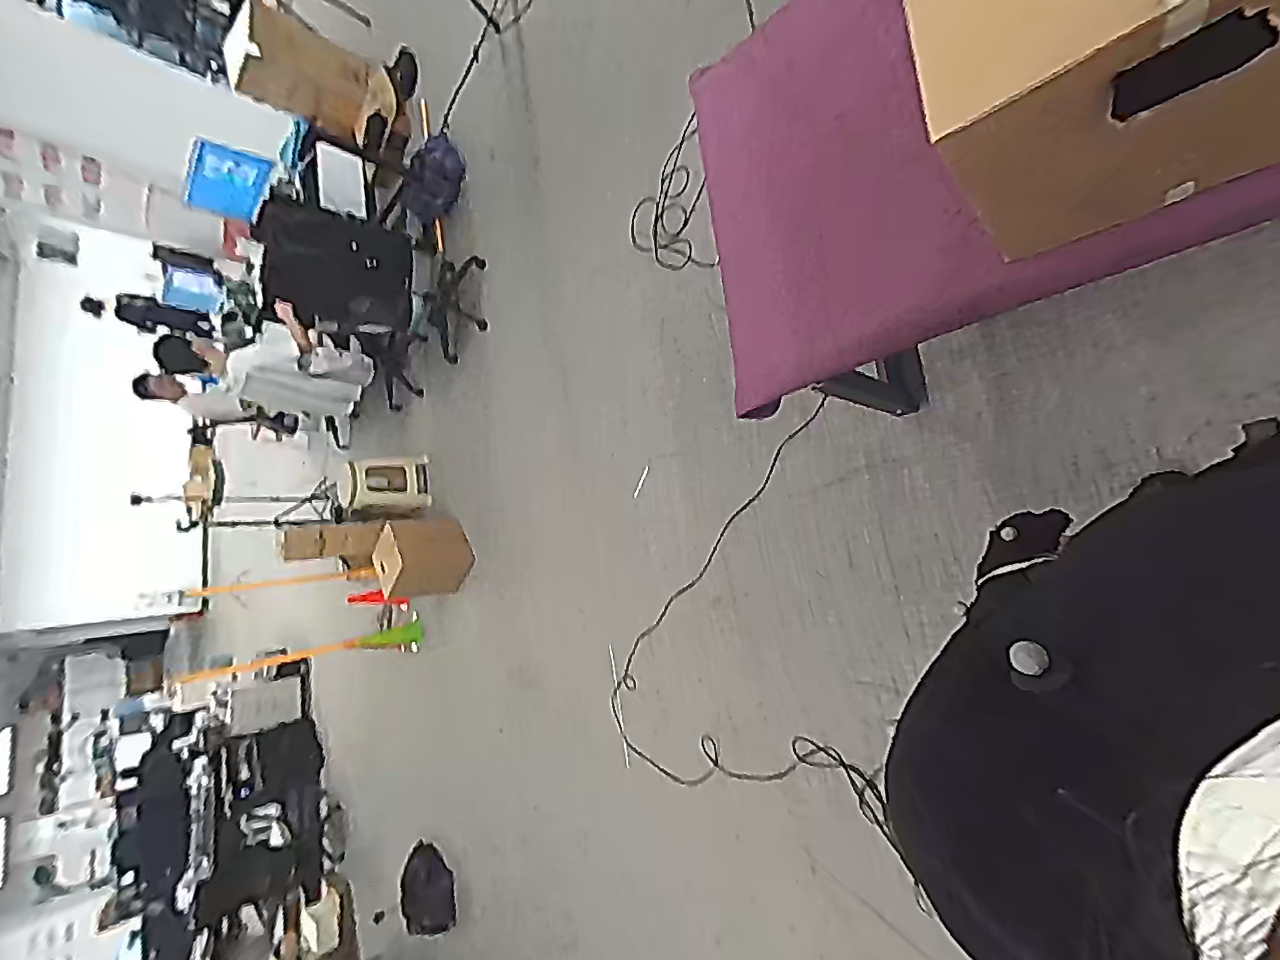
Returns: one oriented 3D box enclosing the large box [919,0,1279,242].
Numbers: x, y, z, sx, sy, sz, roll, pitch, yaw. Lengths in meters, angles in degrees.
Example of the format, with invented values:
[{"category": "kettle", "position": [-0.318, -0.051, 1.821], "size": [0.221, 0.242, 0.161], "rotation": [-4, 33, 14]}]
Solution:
[{"category": "large box", "position": [0.453, -0.516, 0.496], "size": [0.320, 0.320, 0.408], "rotation": [-13, 80, 43]}]
